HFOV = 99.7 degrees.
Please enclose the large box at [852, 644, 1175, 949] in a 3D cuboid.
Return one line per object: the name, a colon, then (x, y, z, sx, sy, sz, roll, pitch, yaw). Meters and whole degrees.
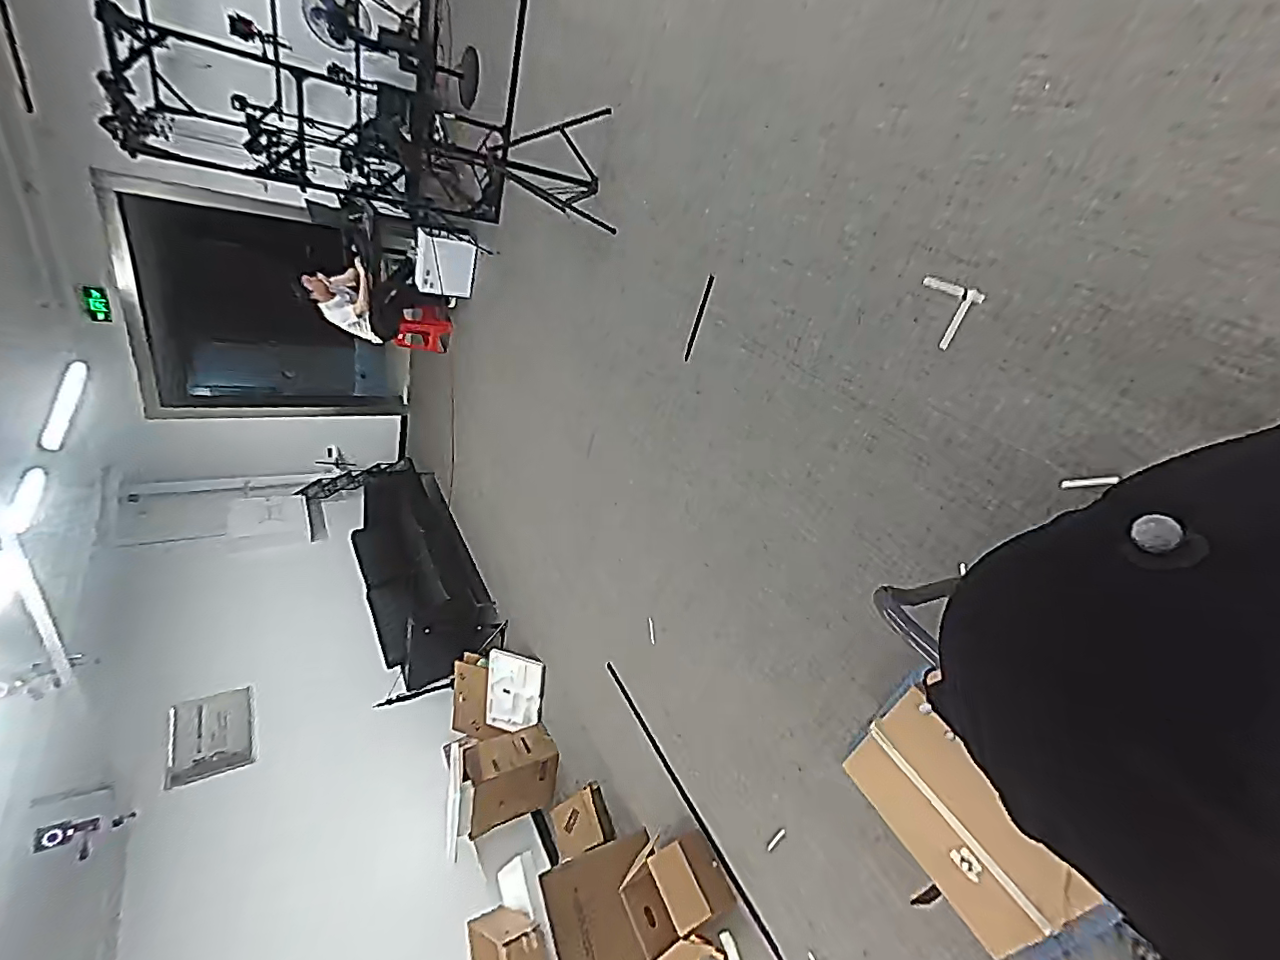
large box: (0.753, 0.624, 1.138, 0.408, 0.320, 0.320, 50, 133, 40)
